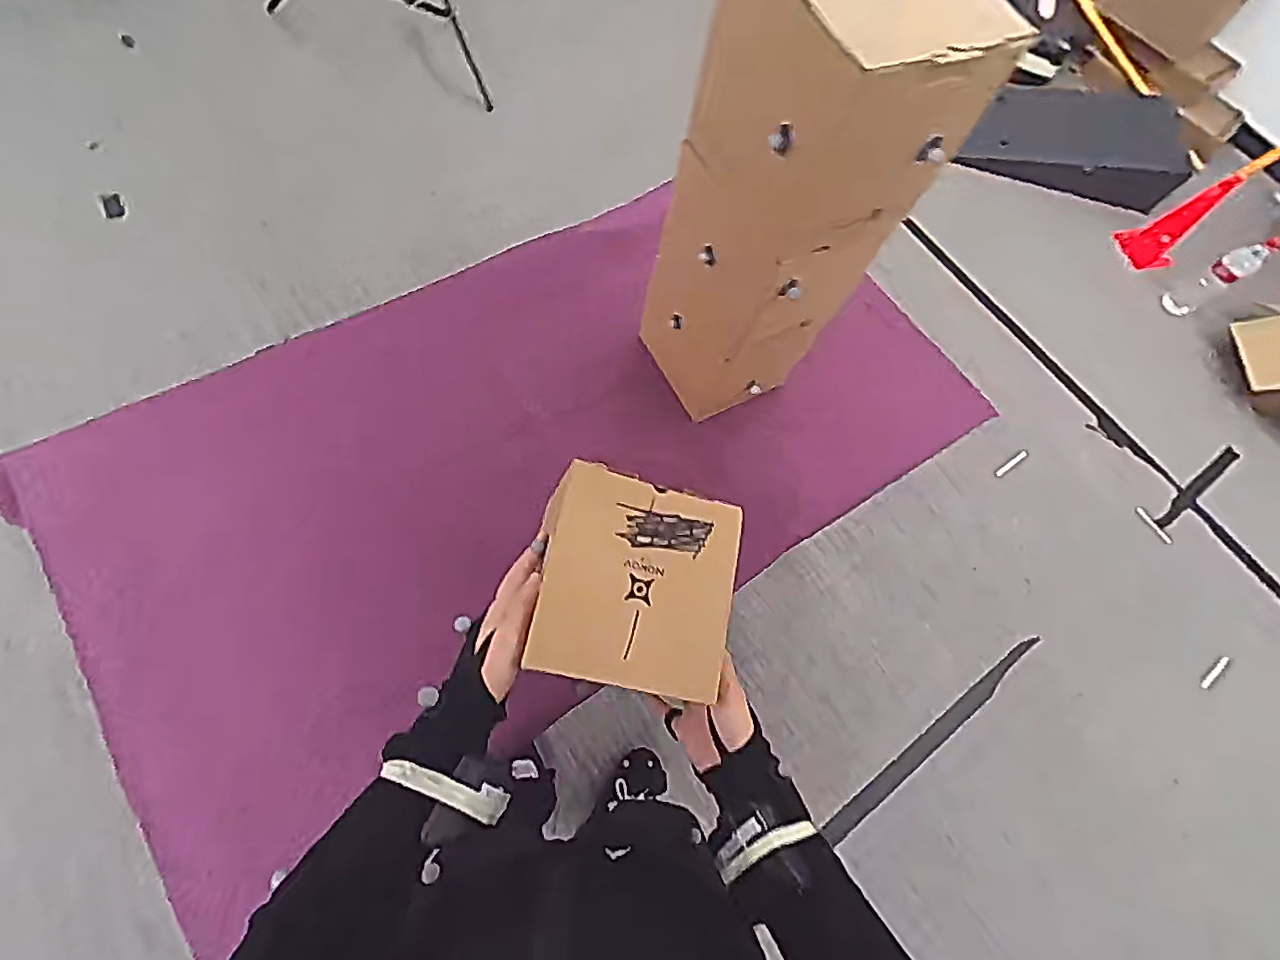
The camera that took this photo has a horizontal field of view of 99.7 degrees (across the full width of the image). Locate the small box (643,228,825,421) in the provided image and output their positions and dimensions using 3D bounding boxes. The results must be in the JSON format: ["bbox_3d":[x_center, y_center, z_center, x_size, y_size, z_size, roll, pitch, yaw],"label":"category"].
[{"bbox_3d":[0.118,-0.215,0.767,0.168,0.176,0.179,-26,74,-16],"label":"small box"}]

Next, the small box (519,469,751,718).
[{"bbox_3d":[-0.013,0.115,0.526,0.168,0.176,0.179,17,69,-11],"label":"small box"}]

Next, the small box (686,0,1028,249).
[{"bbox_3d":[0.160,-0.326,0.462,0.168,0.176,0.179,-24,73,-17],"label":"small box"}]
